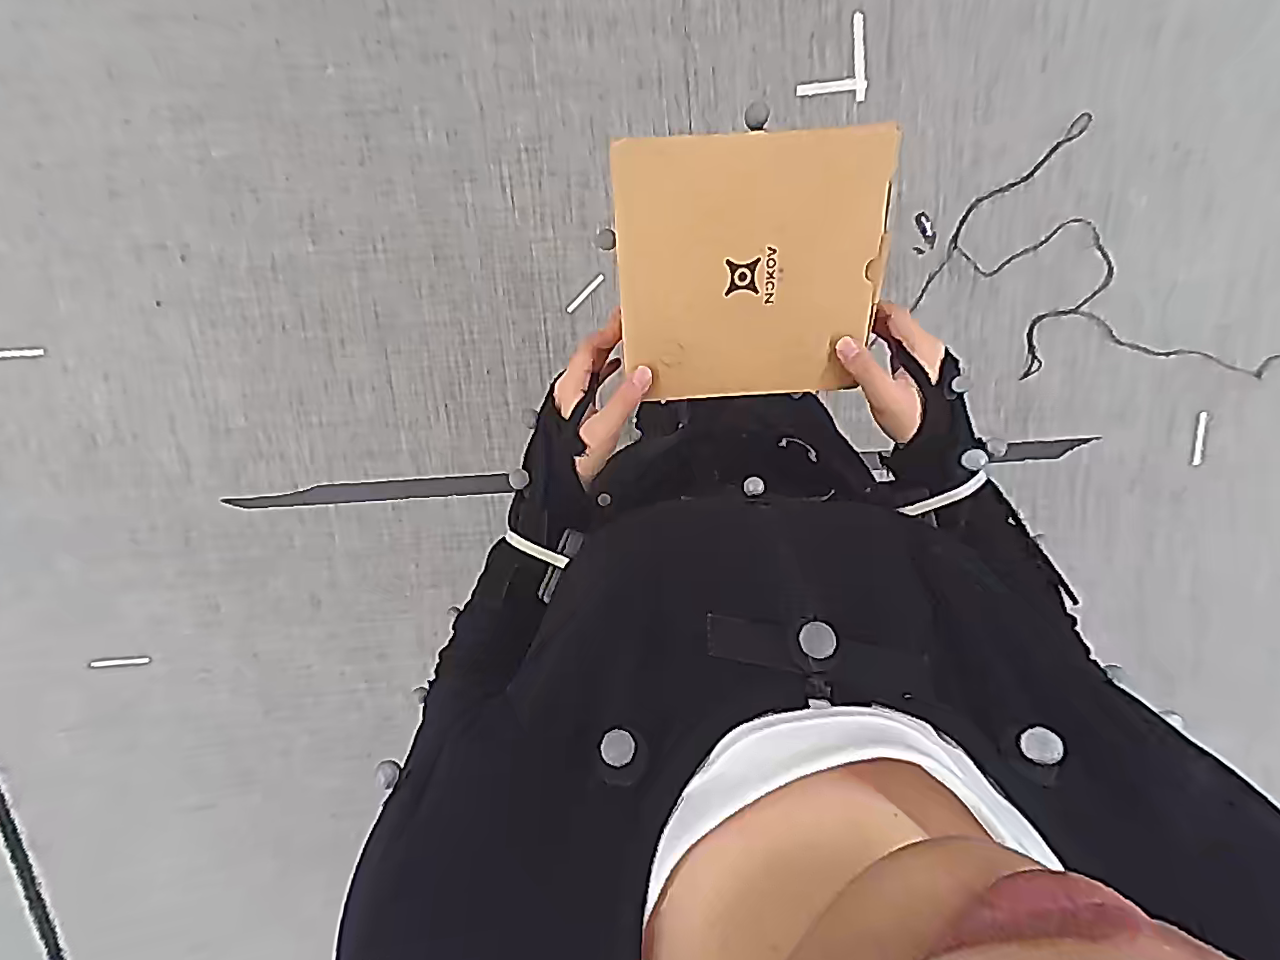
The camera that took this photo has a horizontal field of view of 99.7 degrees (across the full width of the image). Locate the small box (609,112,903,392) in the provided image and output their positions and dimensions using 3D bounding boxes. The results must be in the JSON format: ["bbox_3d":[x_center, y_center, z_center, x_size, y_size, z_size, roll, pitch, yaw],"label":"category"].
[{"bbox_3d":[0.071,-0.177,0.425,0.179,0.176,0.168,-4,119,0],"label":"small box"}]
